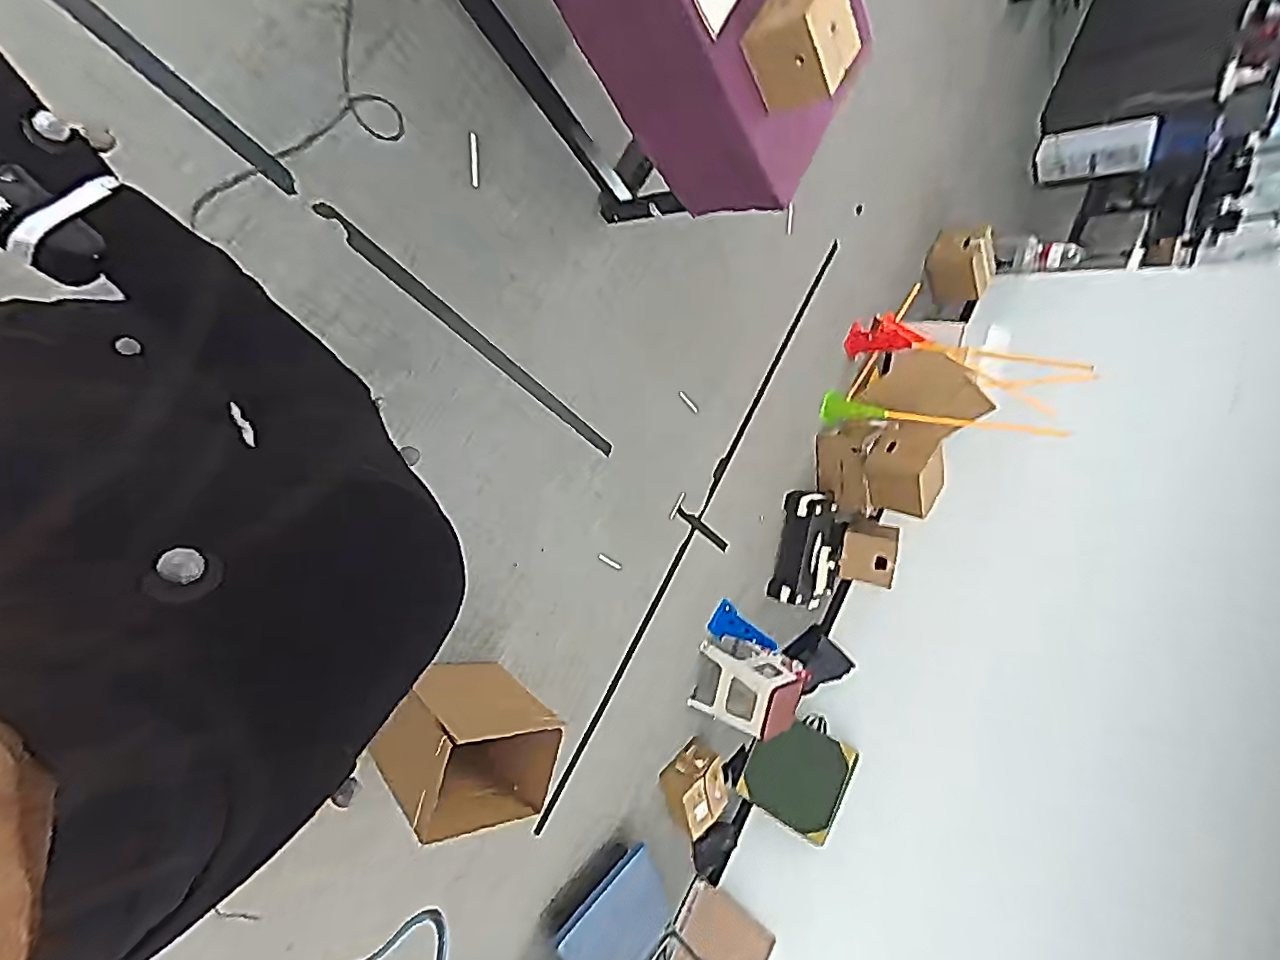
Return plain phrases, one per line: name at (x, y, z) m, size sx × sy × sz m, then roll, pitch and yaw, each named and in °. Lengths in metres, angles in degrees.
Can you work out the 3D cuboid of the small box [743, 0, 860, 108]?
small box at (0.360, -0.983, 1.213) m, size 0.179 × 0.176 × 0.168 m, roll 40°, pitch 75°, yaw -44°
